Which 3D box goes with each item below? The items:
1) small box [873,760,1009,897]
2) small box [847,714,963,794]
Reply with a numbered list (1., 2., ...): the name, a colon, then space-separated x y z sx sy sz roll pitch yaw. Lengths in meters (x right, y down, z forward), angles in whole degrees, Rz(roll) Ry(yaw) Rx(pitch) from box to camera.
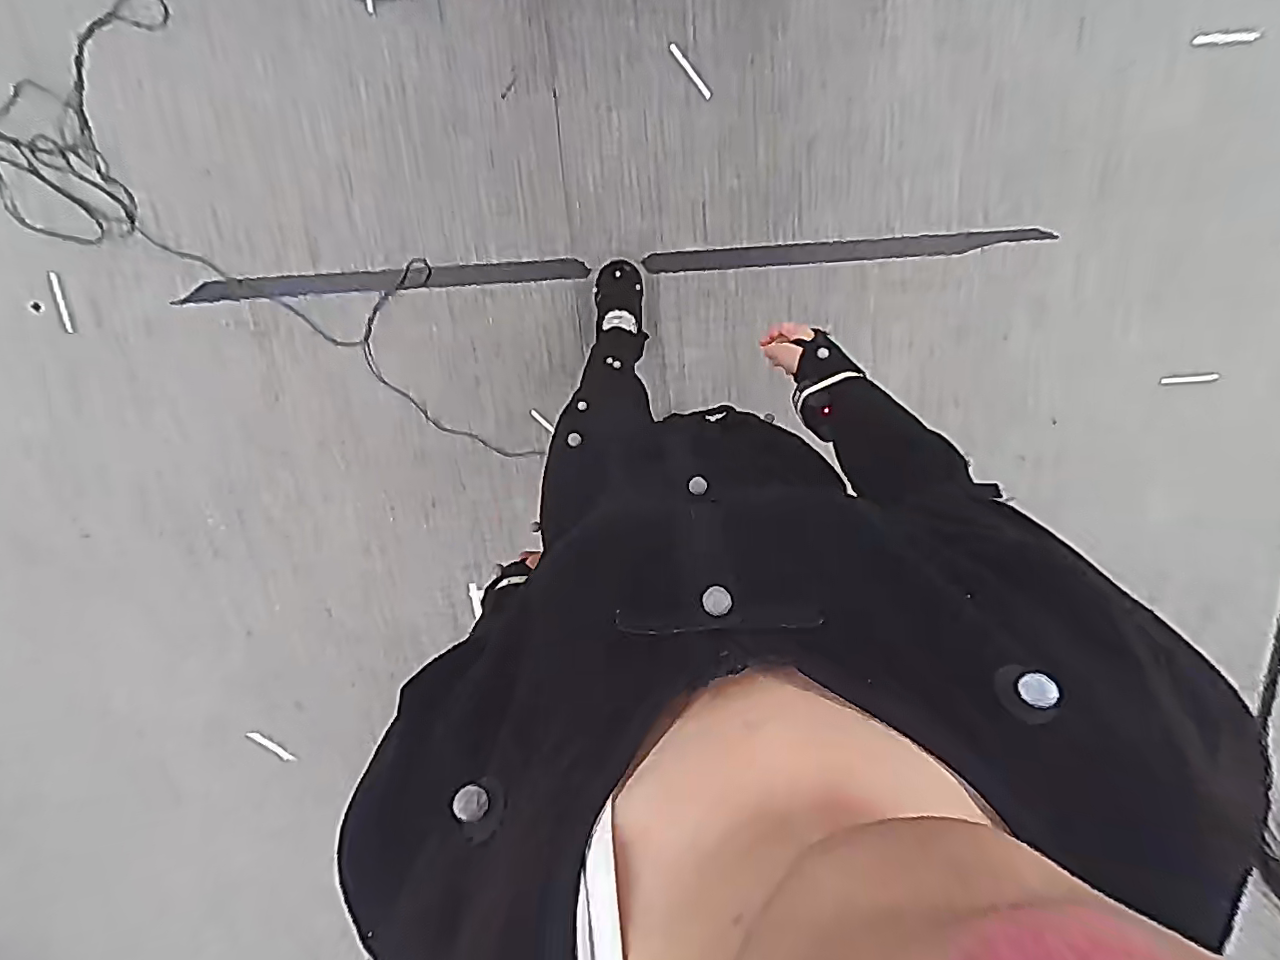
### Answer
1. small box: 0.680 0.789 1.240 0.179 0.176 0.168 44 99 -12
2. small box: 0.672 0.739 1.395 0.168 0.176 0.179 -44 101 9
